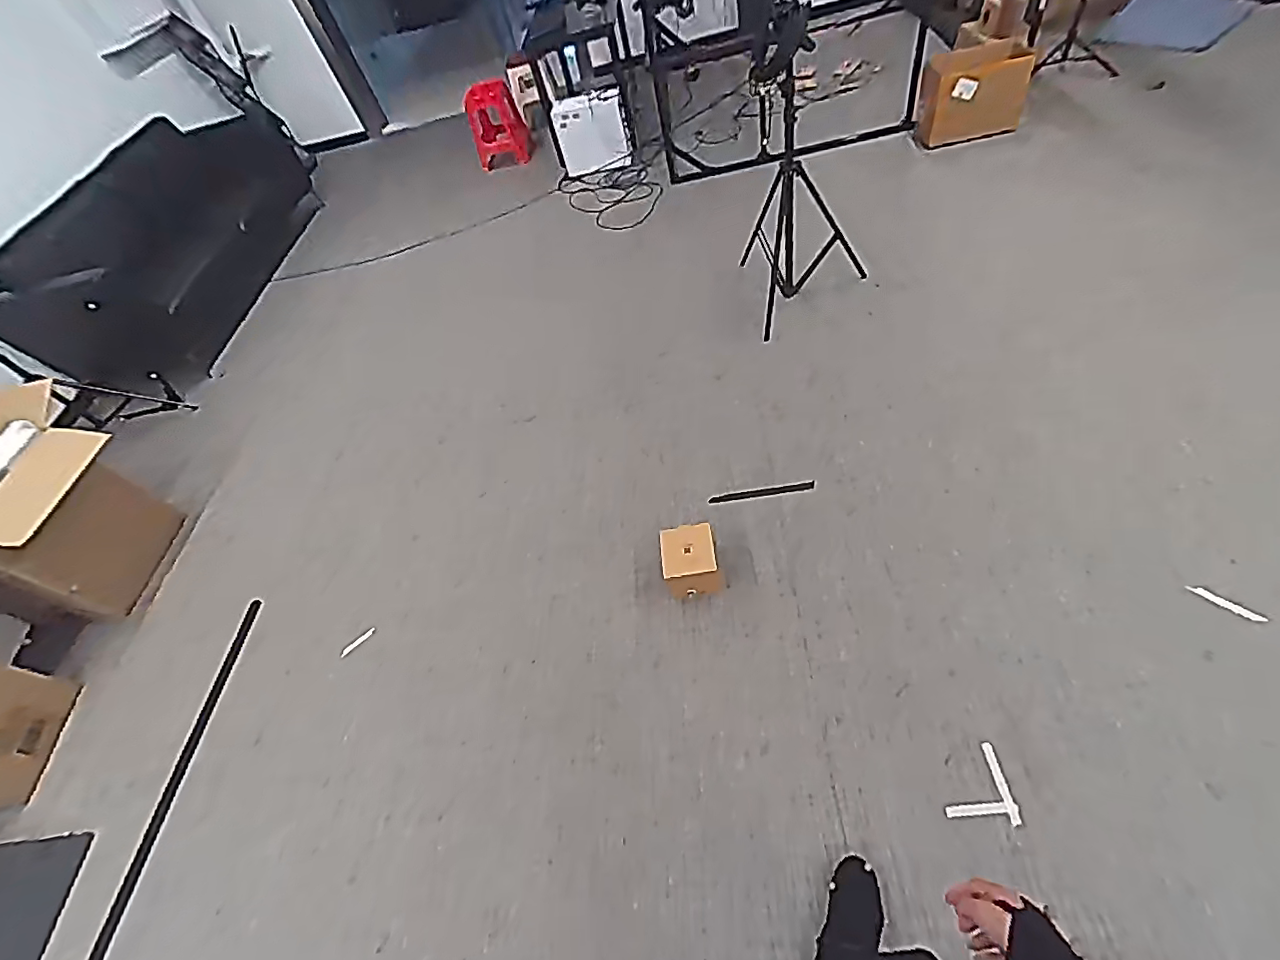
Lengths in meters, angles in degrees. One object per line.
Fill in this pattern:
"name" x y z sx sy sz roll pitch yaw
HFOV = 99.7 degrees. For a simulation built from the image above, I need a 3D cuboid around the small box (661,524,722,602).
"small box" 0.166 0.268 1.735 0.168 0.176 0.179 -11 52 9
